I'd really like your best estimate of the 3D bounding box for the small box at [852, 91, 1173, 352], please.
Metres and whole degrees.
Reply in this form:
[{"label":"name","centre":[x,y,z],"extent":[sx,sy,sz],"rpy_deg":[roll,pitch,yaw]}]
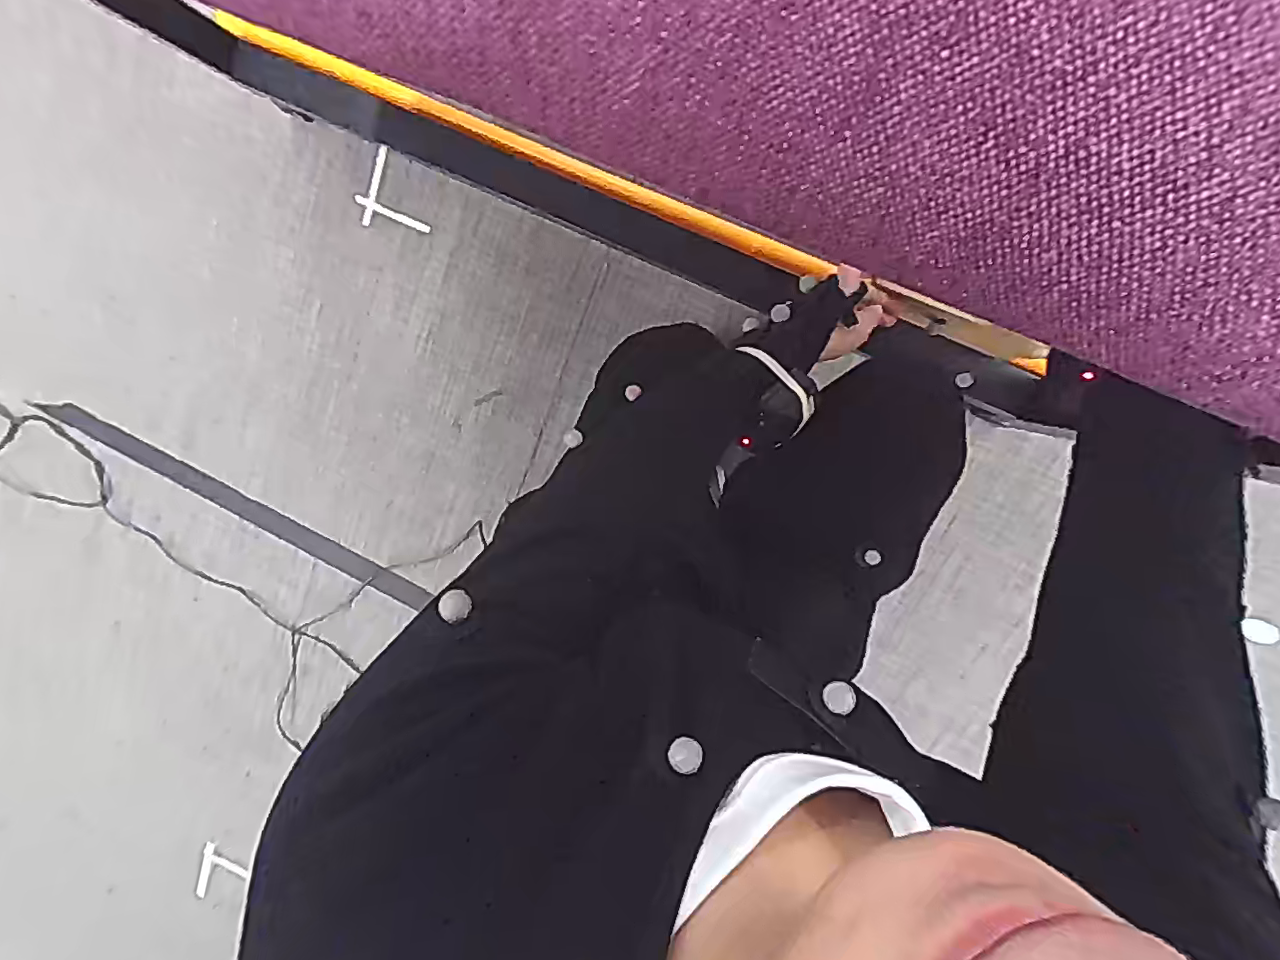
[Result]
[{"label":"small box","centre":[0.337,-0.235,0.540],"extent":[0.179,0.176,0.168],"rpy_deg":[26,107,6]}]
